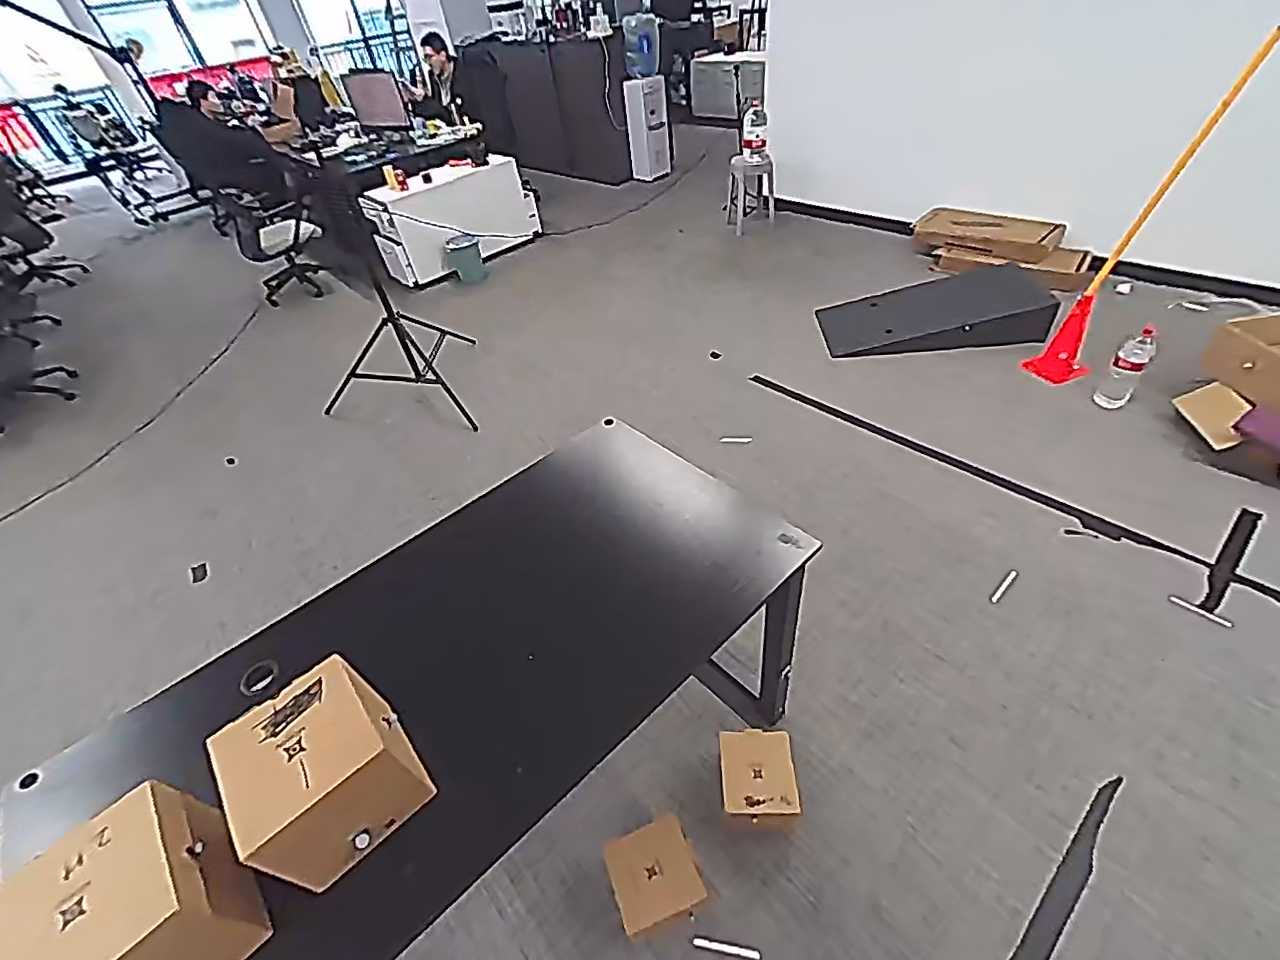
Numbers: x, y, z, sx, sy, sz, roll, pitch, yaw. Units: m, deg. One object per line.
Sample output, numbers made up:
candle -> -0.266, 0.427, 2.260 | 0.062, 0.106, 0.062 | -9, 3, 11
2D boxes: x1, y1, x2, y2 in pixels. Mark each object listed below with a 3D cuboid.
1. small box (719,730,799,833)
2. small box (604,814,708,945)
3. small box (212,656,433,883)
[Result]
small box -> 0.276, 0.719, 1.290 | 0.168, 0.176, 0.179 | -4, 44, 6
small box -> 0.037, 0.870, 1.177 | 0.179, 0.176, 0.168 | -20, 44, -10
small box -> -0.403, 0.376, 0.704 | 0.168, 0.176, 0.179 | -36, 50, -25
